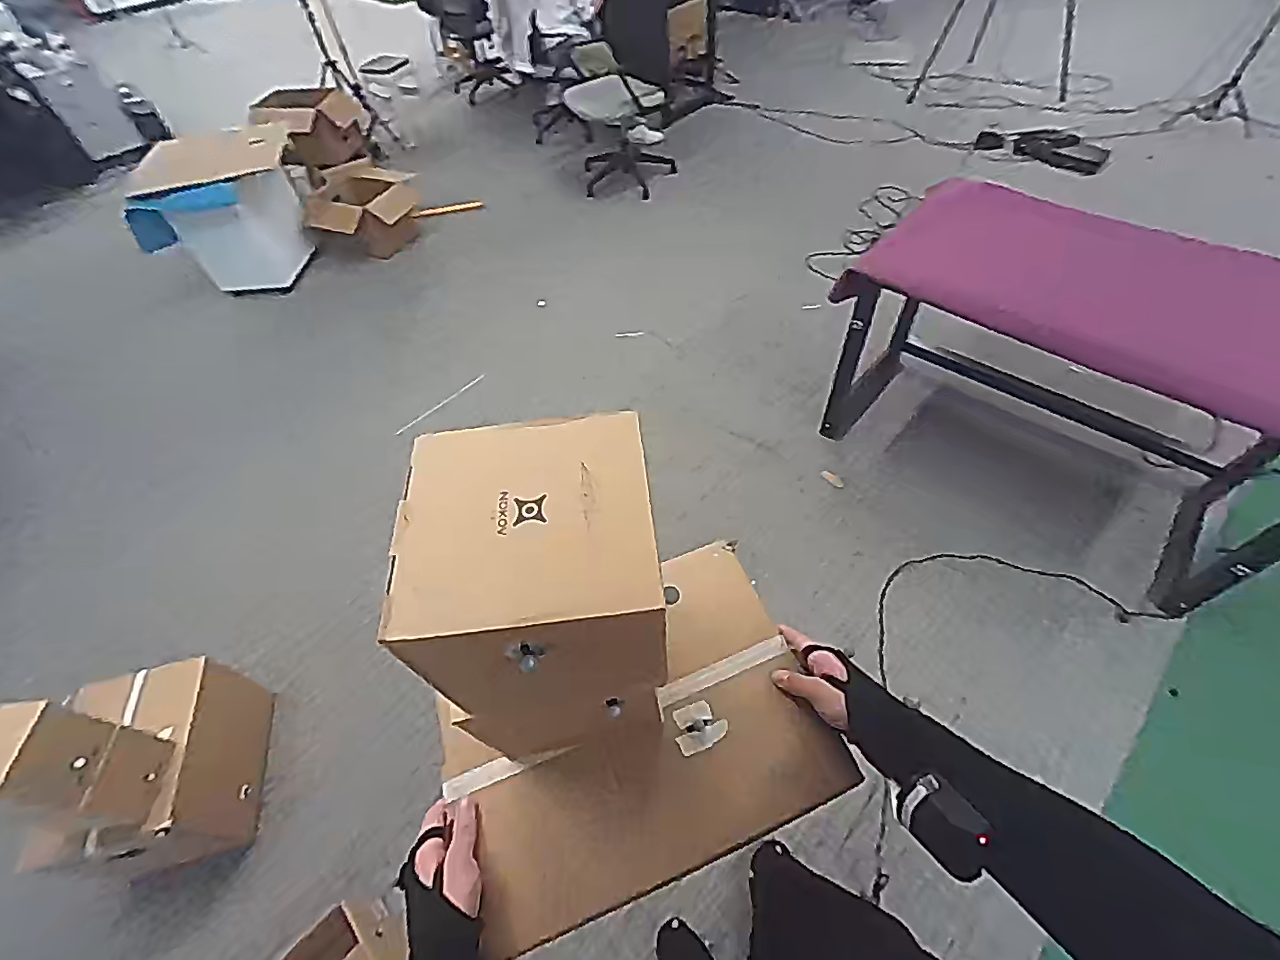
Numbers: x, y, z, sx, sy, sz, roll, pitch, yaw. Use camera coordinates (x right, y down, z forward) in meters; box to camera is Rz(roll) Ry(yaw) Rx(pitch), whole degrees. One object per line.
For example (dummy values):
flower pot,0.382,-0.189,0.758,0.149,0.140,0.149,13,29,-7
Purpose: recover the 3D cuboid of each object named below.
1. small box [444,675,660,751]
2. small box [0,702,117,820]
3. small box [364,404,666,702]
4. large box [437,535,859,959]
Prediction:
small box,-0.081,0.164,0.556,0.179,0.176,0.168,-10,53,-2
small box,-1.185,0.539,1.032,0.179,0.176,0.168,-6,52,-1
small box,-0.077,0.065,0.425,0.179,0.176,0.168,-6,54,0
large box,-0.002,0.340,0.721,0.408,0.320,0.320,-20,56,-10
